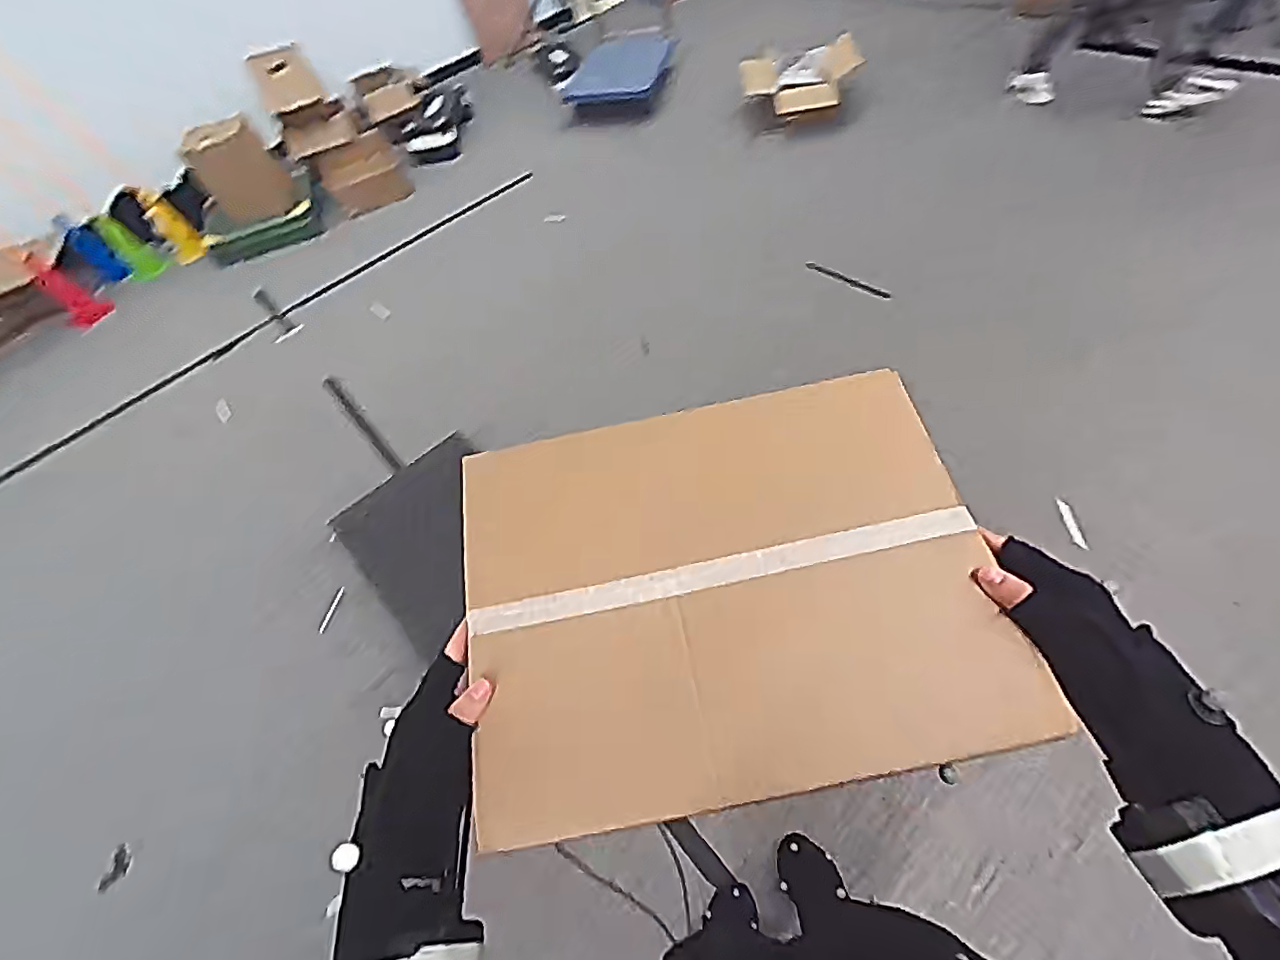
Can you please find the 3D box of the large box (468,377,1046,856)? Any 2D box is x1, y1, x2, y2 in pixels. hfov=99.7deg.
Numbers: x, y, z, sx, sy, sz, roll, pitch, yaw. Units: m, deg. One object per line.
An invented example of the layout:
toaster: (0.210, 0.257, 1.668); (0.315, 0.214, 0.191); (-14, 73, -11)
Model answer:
large box: (0.079, 0.146, 0.573); (0.408, 0.320, 0.320); (-13, 62, 0)
